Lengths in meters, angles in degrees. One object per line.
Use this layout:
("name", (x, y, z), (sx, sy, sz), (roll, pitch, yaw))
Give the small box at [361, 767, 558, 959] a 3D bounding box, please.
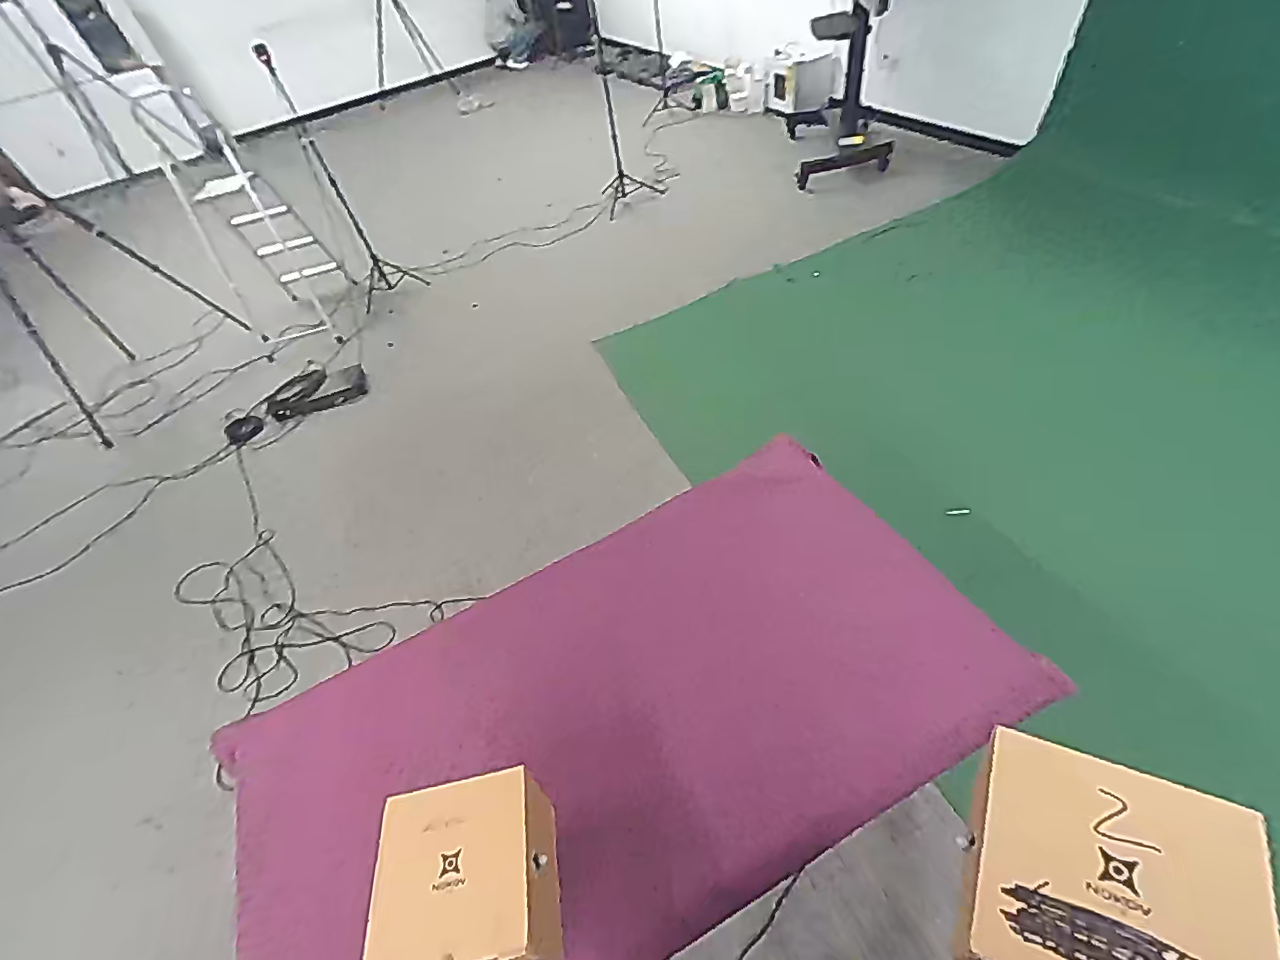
("small box", (-0.196, 0.472, 0.635), (0.168, 0.176, 0.179), (-11, 43, -3))
